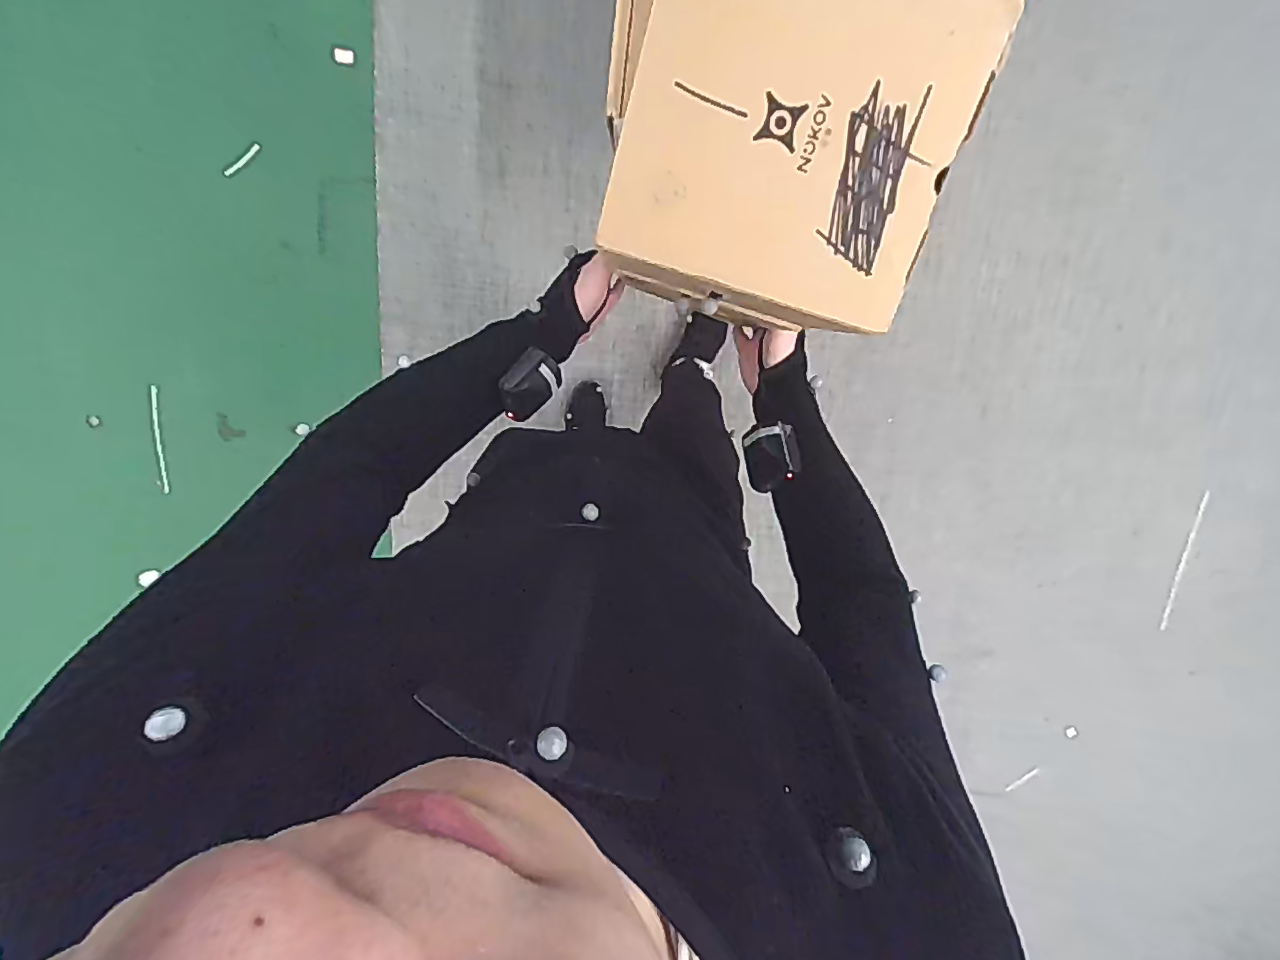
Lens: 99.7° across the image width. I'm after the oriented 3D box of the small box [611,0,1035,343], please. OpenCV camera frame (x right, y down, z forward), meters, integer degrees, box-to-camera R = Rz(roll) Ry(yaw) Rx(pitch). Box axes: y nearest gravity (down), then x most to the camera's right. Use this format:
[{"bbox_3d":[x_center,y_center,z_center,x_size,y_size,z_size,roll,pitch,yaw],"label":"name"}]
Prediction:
[{"bbox_3d":[0.090,-0.202,0.357,0.179,0.176,0.168,16,107,-4],"label":"small box"}]
